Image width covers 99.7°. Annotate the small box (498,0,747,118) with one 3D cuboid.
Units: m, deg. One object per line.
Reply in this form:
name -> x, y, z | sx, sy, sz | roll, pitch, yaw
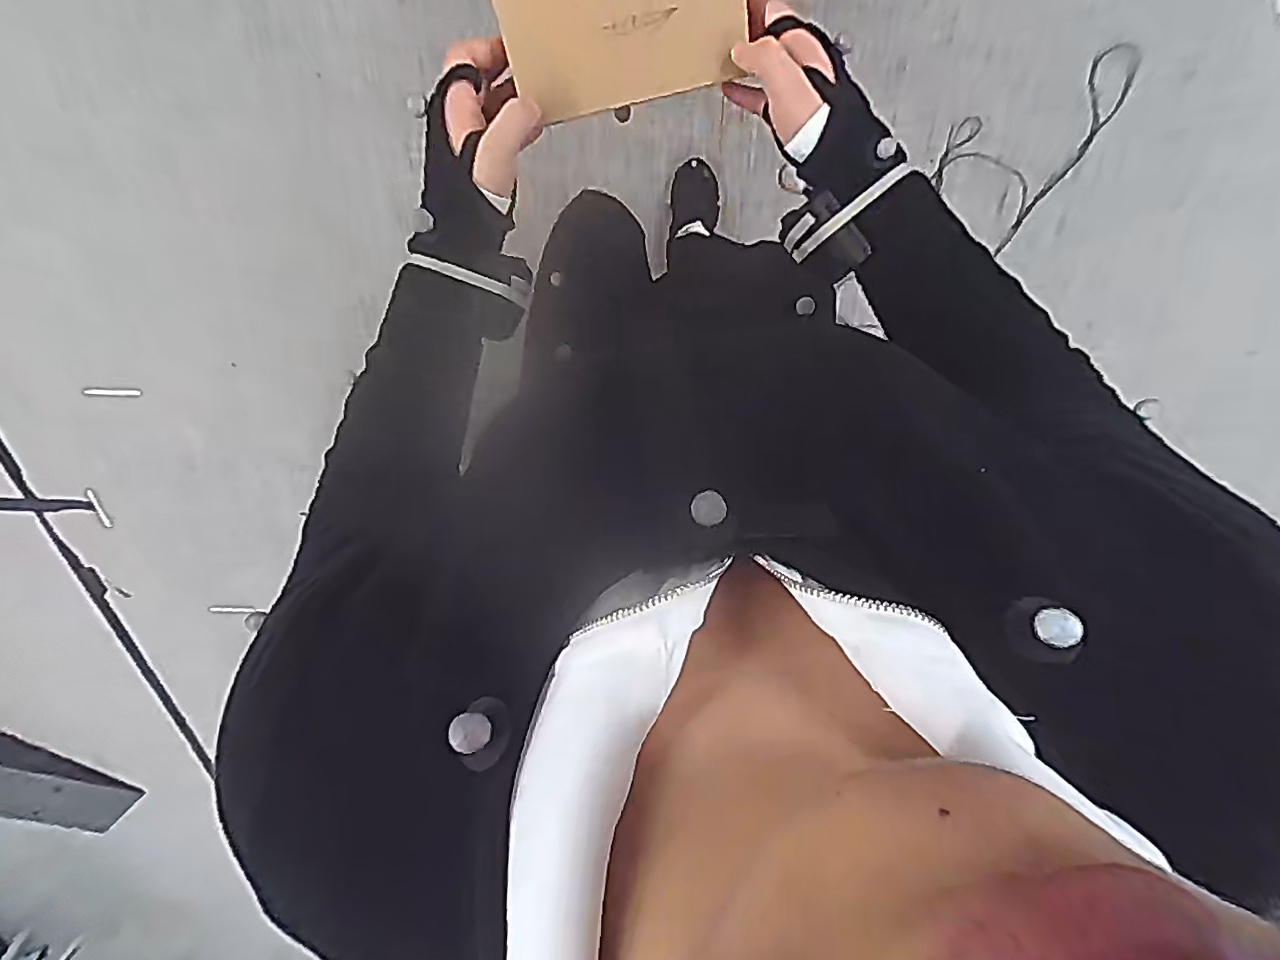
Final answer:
small box -> -0.022, -0.397, 0.405 | 0.168, 0.176, 0.179 | -10, 128, 6
